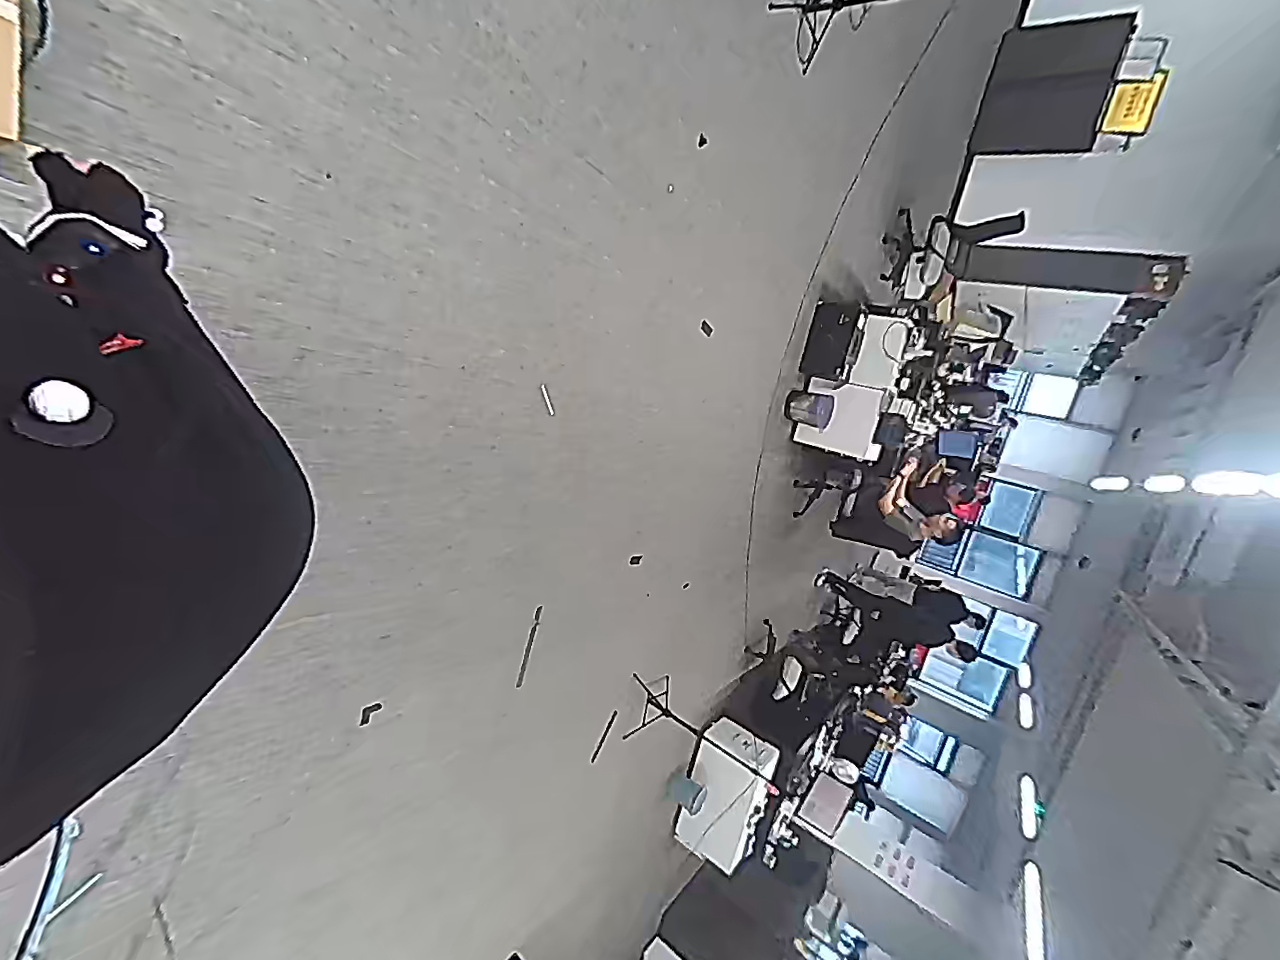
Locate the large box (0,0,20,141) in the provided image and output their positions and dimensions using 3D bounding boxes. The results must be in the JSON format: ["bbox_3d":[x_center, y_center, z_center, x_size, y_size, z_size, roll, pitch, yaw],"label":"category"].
[{"bbox_3d":[-1.060,-0.653,0.637,0.408,0.320,0.320,-2,109,-56],"label":"large box"}]
